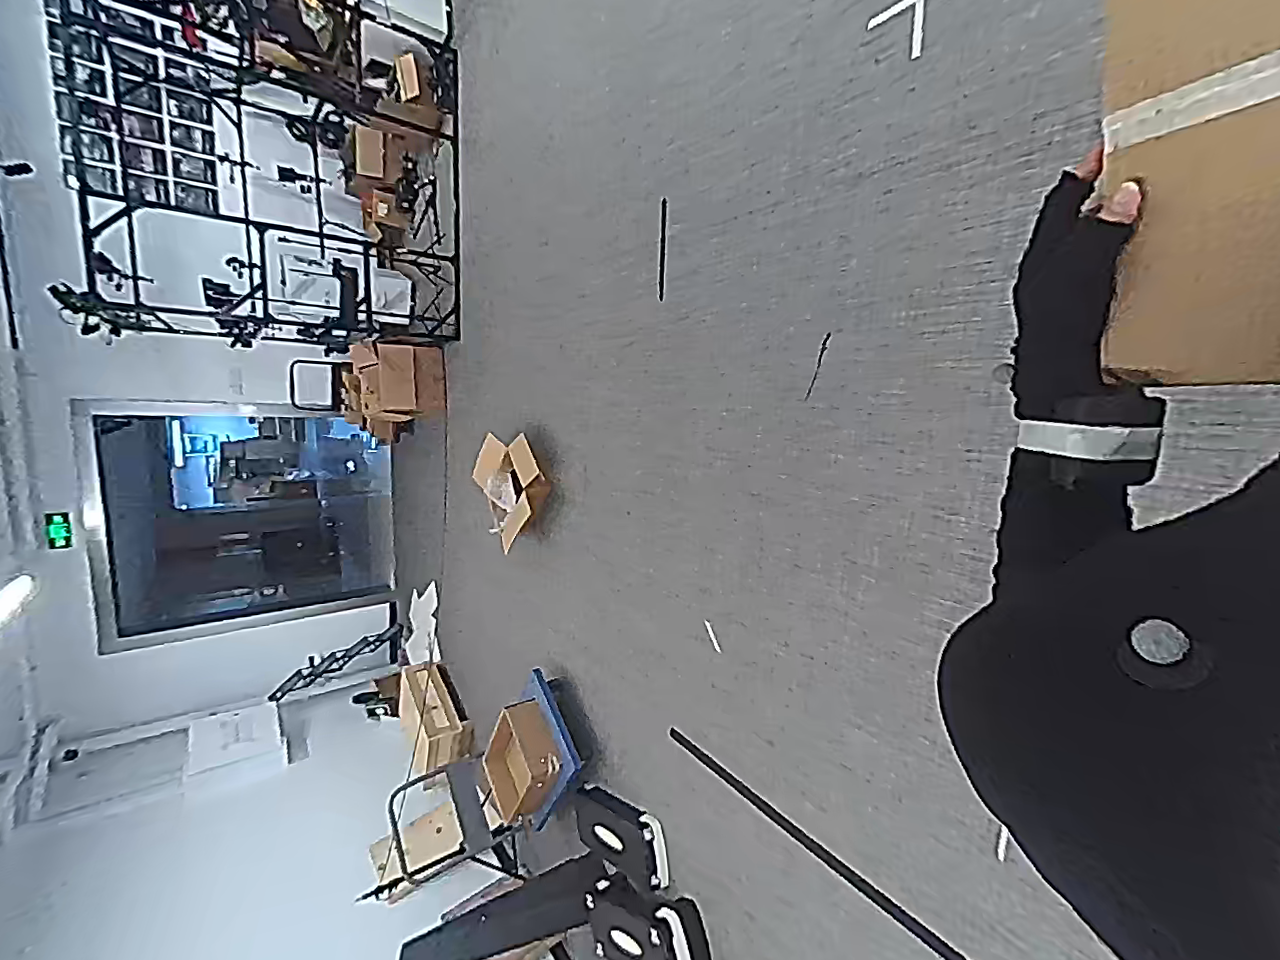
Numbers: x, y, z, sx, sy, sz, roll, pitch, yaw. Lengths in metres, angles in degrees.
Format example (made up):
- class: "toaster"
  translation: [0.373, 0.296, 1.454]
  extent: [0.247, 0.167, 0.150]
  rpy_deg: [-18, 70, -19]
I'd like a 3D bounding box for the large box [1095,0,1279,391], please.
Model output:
- class: "large box"
  translation: [0.514, -0.229, 0.235]
  extent: [0.408, 0.320, 0.320]
  rpy_deg: [12, 115, 61]
